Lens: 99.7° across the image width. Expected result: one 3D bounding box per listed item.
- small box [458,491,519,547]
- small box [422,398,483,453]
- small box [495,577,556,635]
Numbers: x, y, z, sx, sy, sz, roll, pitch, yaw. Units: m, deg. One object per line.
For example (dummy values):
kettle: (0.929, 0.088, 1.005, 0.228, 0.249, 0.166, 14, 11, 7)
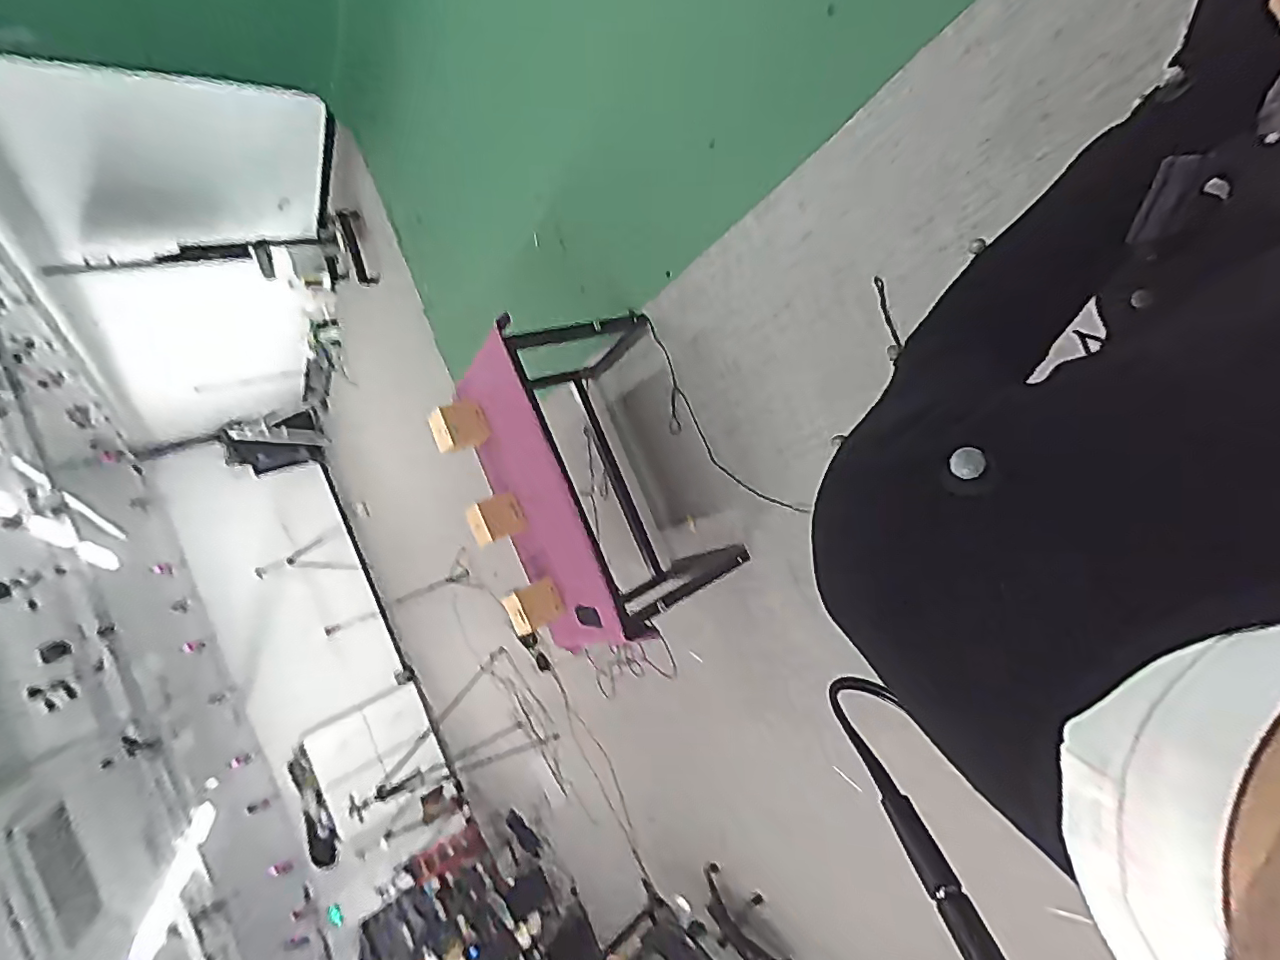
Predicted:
small box: (-0.624, 0.159, 2.234, 0.179, 0.176, 0.168, -26, 87, 52)
small box: (-0.771, -0.225, 2.231, 0.179, 0.176, 0.168, -21, 91, 53)
small box: (-0.460, 0.510, 2.195, 0.179, 0.176, 0.168, -32, 81, 53)
